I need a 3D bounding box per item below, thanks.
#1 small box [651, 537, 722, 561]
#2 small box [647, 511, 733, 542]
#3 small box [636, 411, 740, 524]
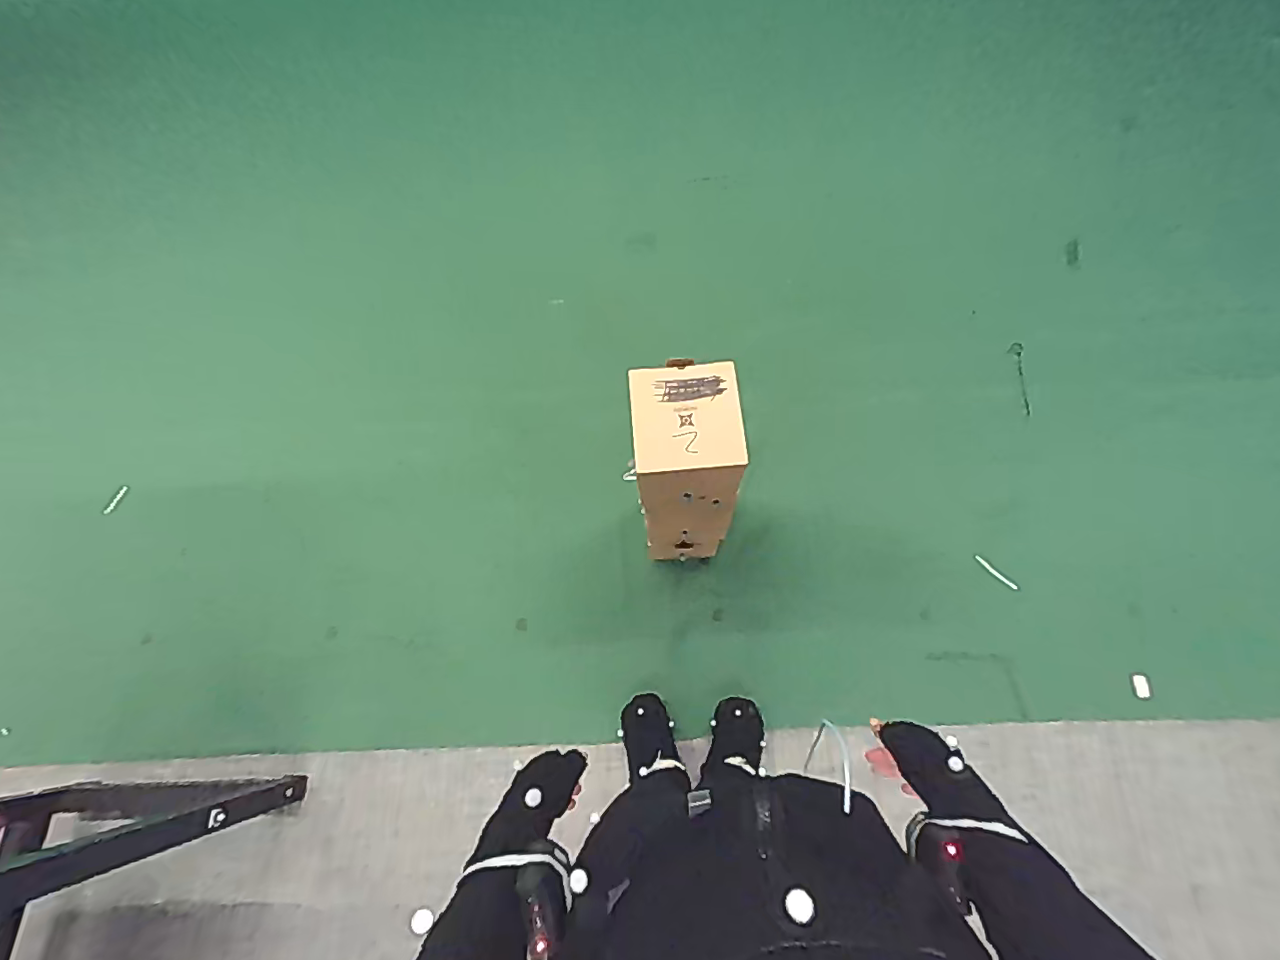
[{"bbox_3d":[0.109,0.097,1.347,0.168,0.176,0.179,-4,70,3],"label":"small box"},{"bbox_3d":[0.104,0.038,1.191,0.179,0.176,0.168,-1,69,3],"label":"small box"},{"bbox_3d":[0.089,-0.016,1.041,0.179,0.176,0.168,-4,70,2],"label":"small box"}]
